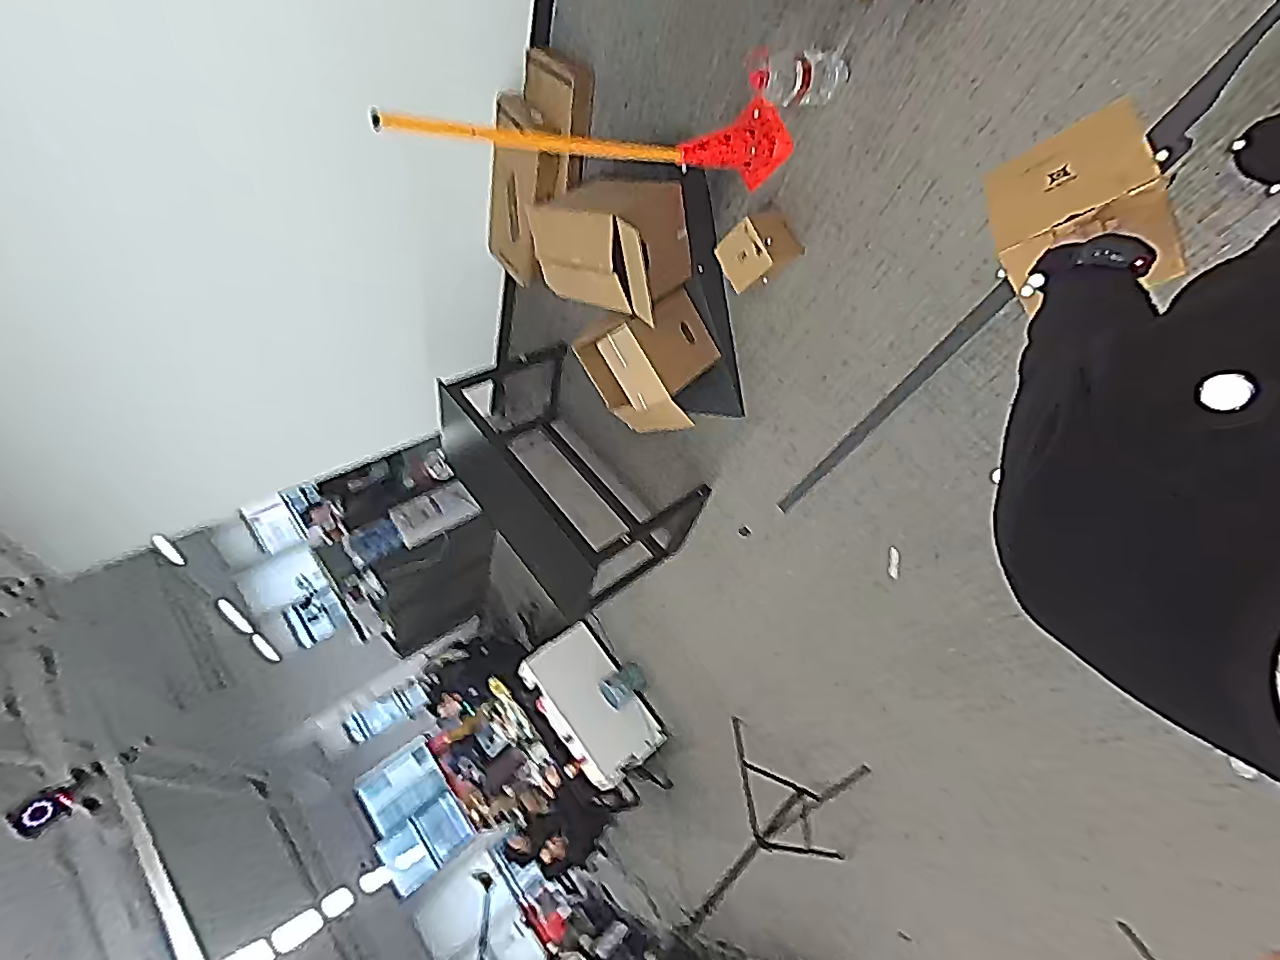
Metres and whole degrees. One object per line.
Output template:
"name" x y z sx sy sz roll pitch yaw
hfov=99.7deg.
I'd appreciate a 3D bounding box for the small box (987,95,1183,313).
"small box" 0.603 -0.357 0.740 0.176 0.179 0.168 33 146 -34
